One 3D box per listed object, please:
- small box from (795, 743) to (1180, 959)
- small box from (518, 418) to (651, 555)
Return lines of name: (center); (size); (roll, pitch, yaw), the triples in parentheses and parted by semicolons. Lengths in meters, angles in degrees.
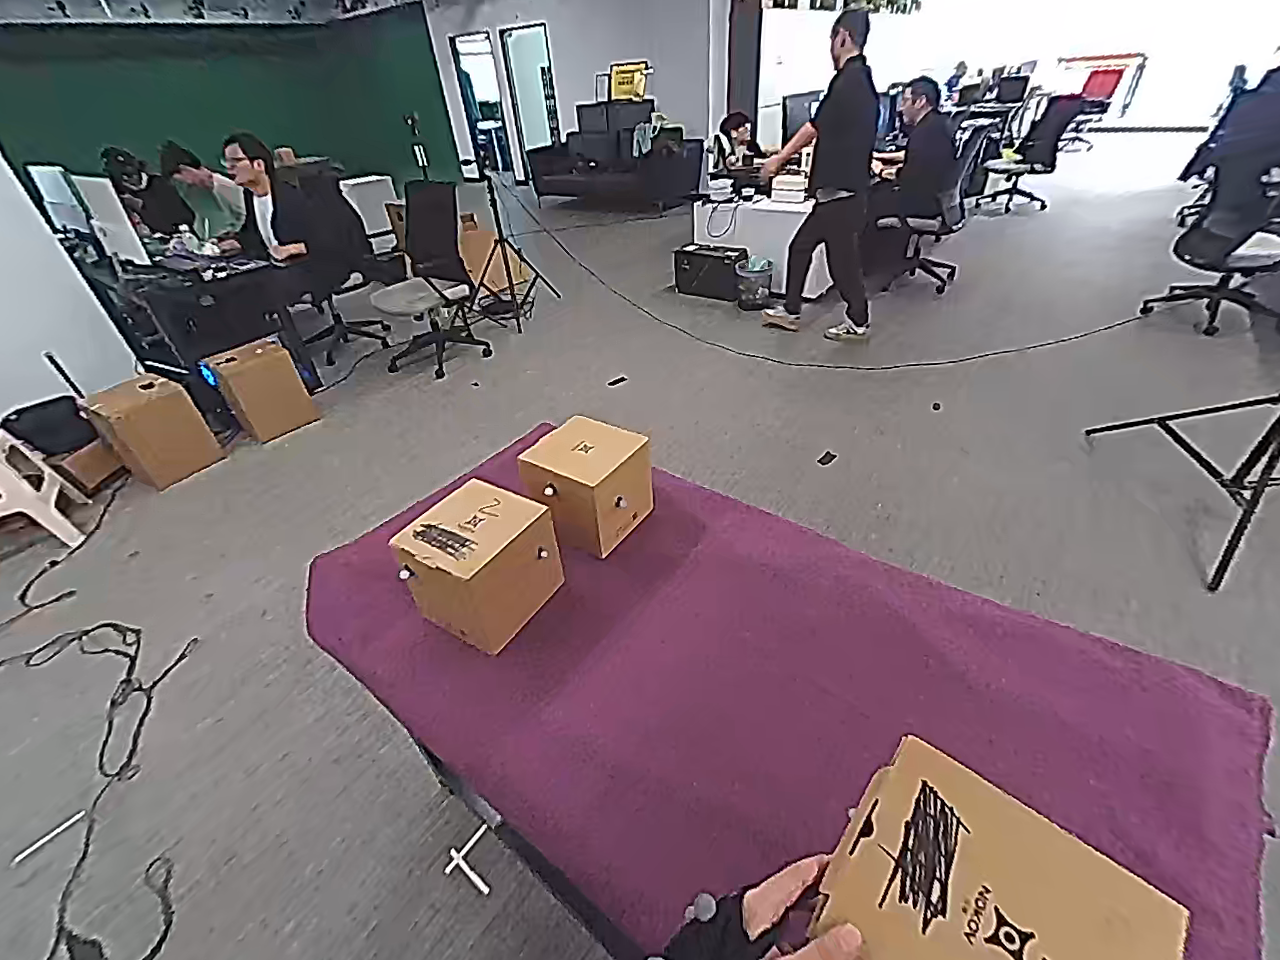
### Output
small box: (0.230, 0.344, 0.398); (0.179, 0.176, 0.168); (27, 54, 33)
small box: (-0.093, 0.013, 1.000); (0.179, 0.176, 0.168); (20, 43, 29)
